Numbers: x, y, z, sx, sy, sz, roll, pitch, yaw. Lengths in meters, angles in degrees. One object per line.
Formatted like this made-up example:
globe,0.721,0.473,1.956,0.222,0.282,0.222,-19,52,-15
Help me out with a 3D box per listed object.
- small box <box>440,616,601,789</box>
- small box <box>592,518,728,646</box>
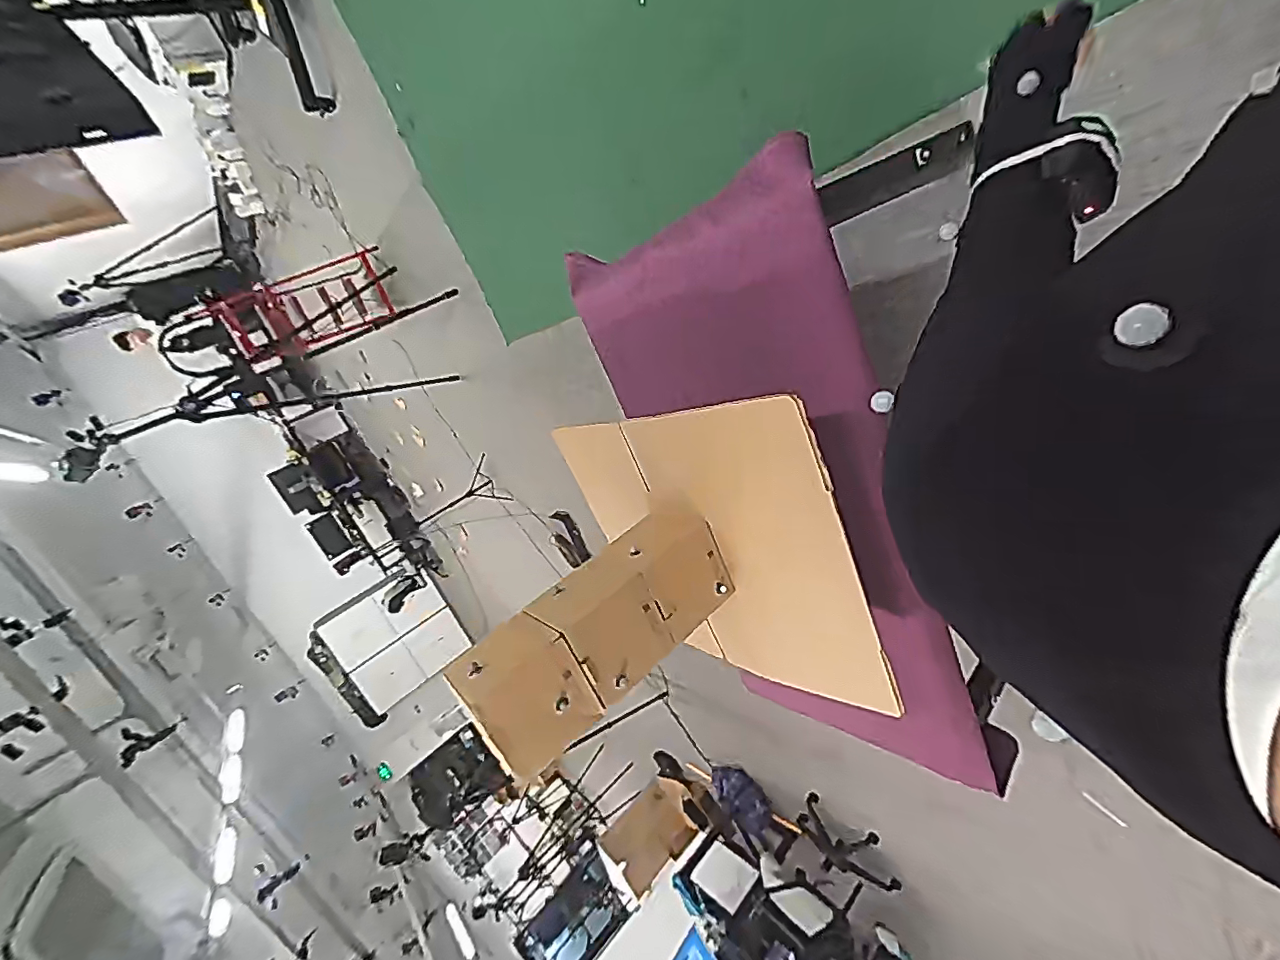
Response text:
small box,-0.193,0.348,0.885,0.179,0.176,0.168,1,120,56
small box,0.046,0.185,1.041,0.179,0.176,0.168,-2,119,54
